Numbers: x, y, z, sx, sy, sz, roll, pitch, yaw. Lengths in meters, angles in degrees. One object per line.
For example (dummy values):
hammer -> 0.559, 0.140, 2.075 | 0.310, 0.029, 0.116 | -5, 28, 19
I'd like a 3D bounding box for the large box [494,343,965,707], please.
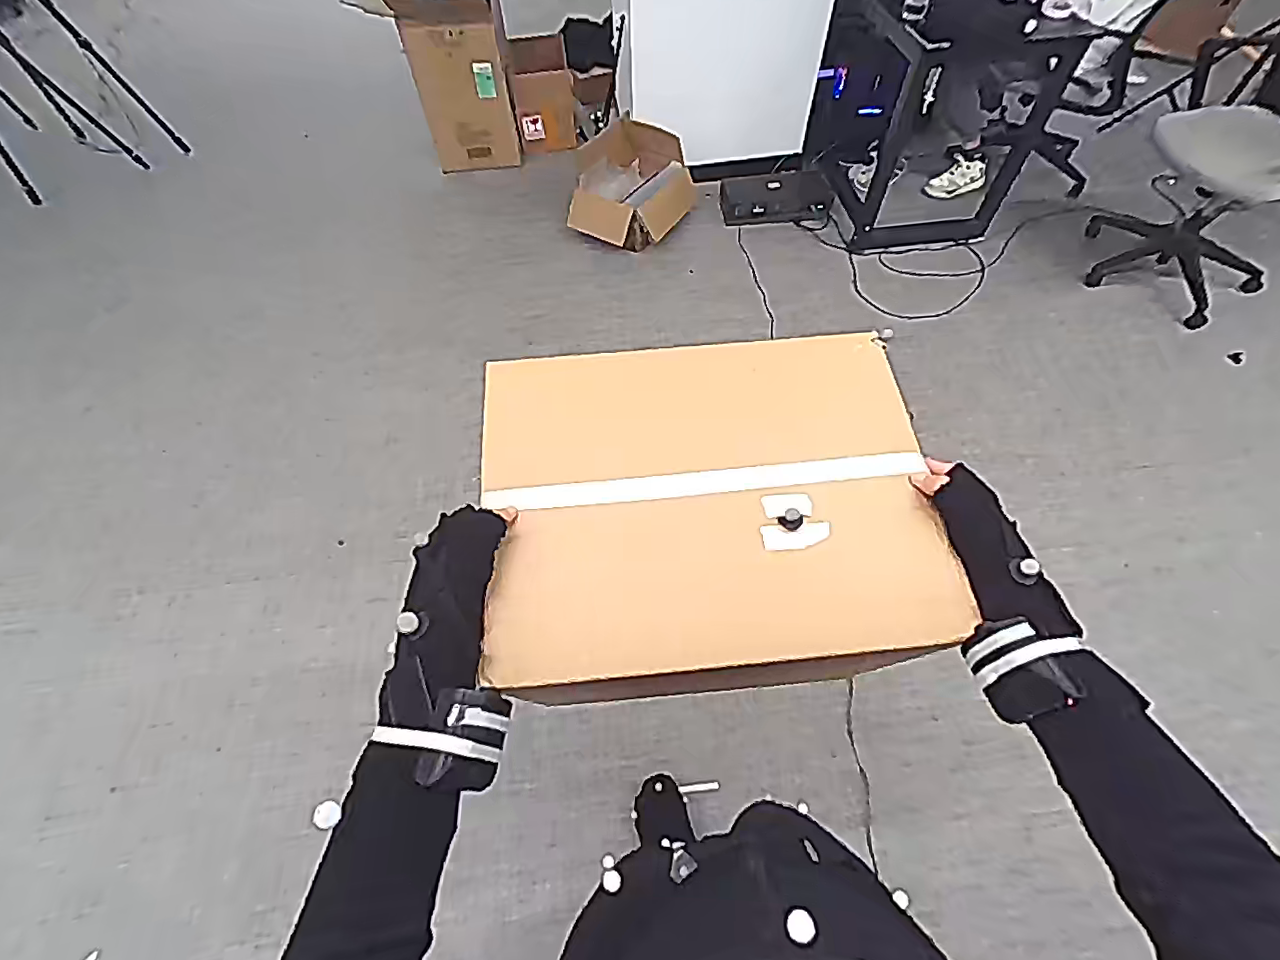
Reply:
large box -> 0.062, 0.073, 0.642 | 0.408, 0.320, 0.320 | -5, 65, -2
